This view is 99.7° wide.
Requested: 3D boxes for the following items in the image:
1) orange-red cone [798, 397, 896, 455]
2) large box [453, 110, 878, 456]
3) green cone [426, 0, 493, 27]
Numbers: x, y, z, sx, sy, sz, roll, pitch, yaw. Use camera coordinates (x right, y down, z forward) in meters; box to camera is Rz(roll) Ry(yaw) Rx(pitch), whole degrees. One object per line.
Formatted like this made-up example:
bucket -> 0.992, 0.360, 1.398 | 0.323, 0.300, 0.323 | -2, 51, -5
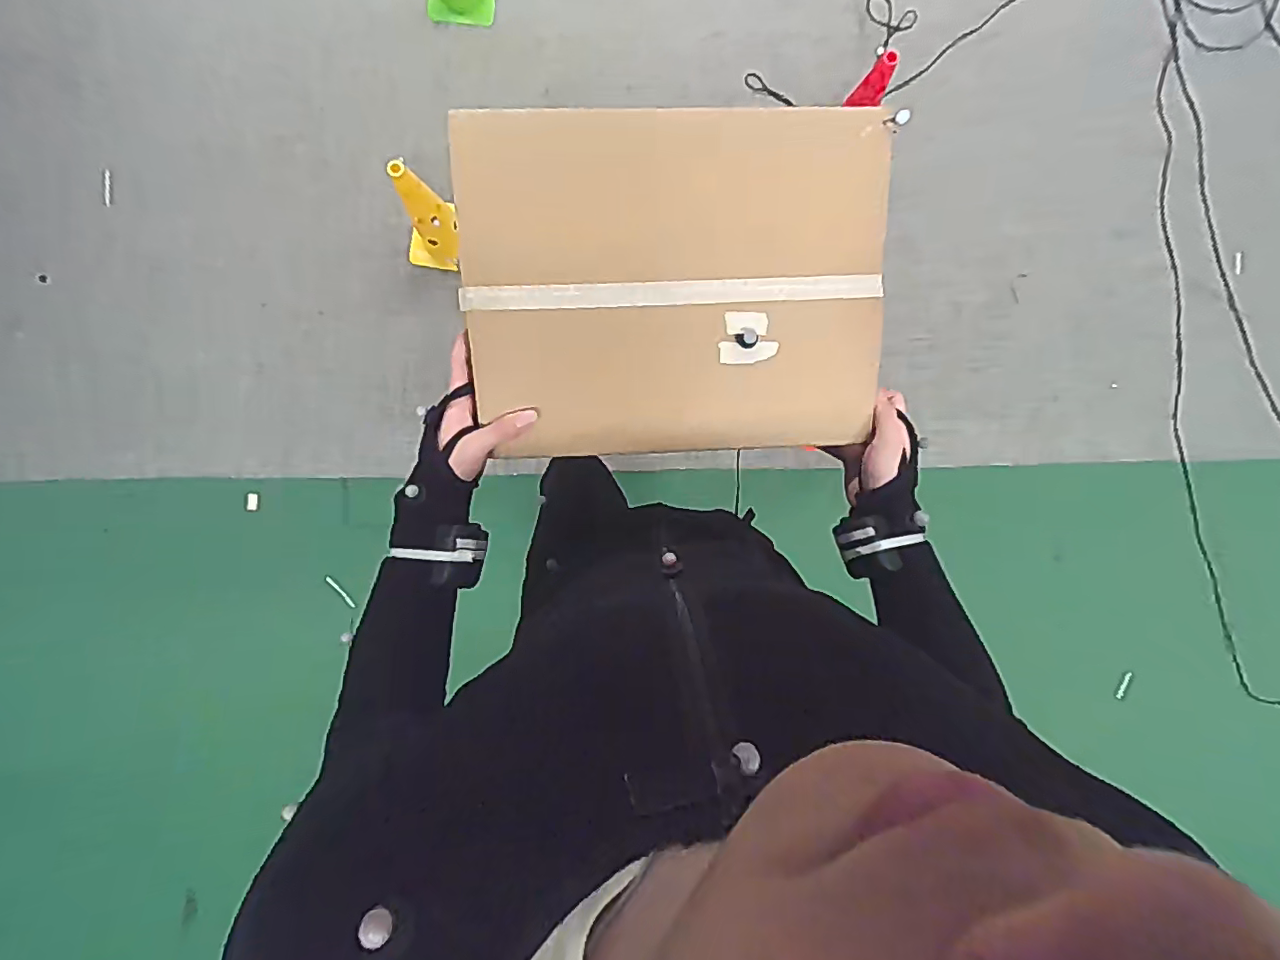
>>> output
orange-red cone -> 0.591, -0.181, 1.467 | 0.199, 0.360, 0.198 | 7, 90, -2
large box -> 0.023, -0.219, 0.674 | 0.408, 0.320, 0.320 | -3, 104, -4
green cone -> -0.541, -1.480, 1.467 | 0.200, 0.368, 0.202 | 5, 90, -1
